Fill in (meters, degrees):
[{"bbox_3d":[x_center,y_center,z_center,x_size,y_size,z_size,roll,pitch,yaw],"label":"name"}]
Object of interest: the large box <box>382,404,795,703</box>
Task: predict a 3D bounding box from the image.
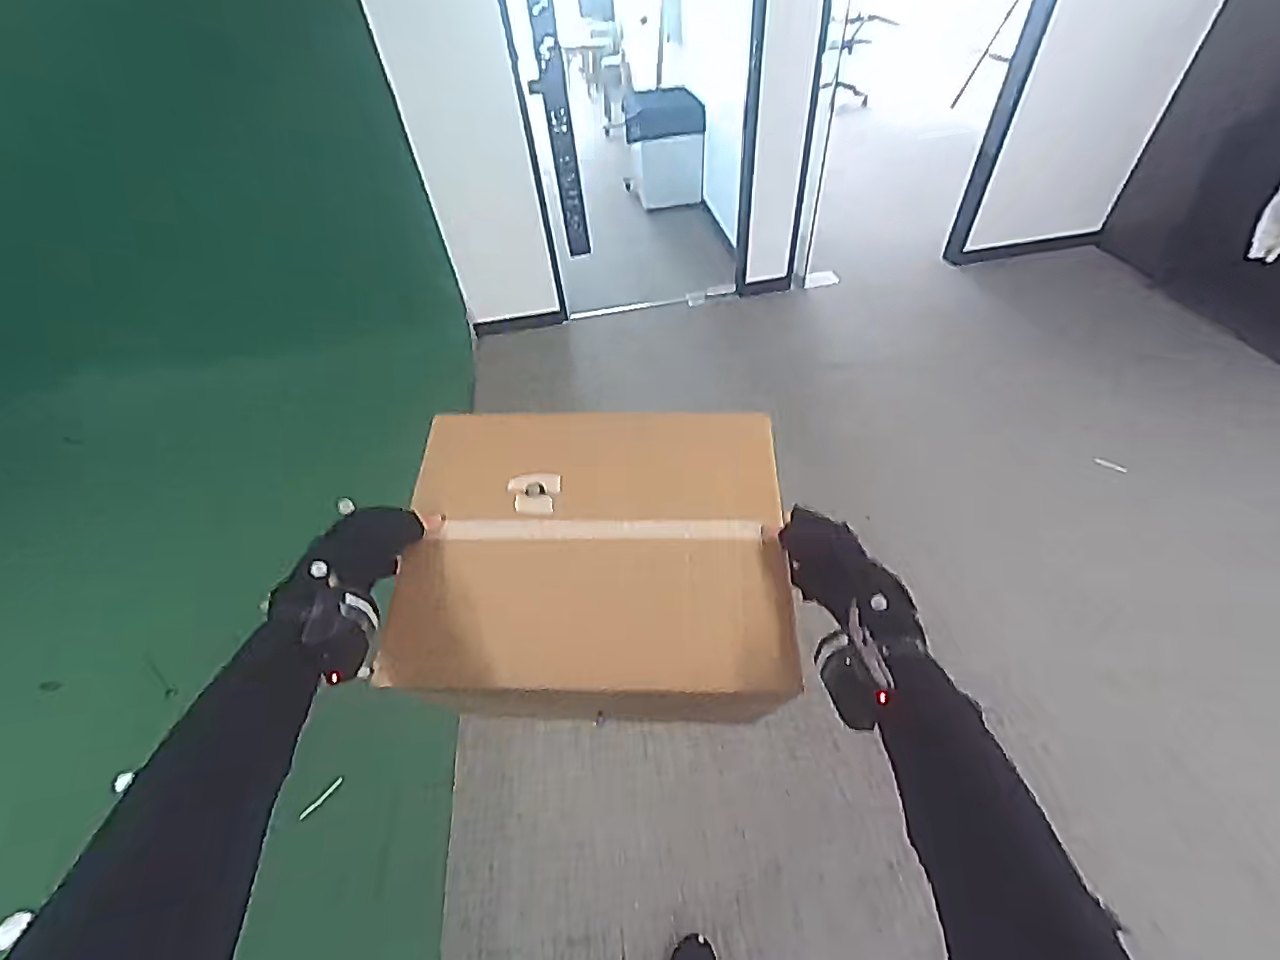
[{"bbox_3d":[-0.043,0.117,0.712,0.408,0.320,0.320,0,61,3],"label":"large box"}]
